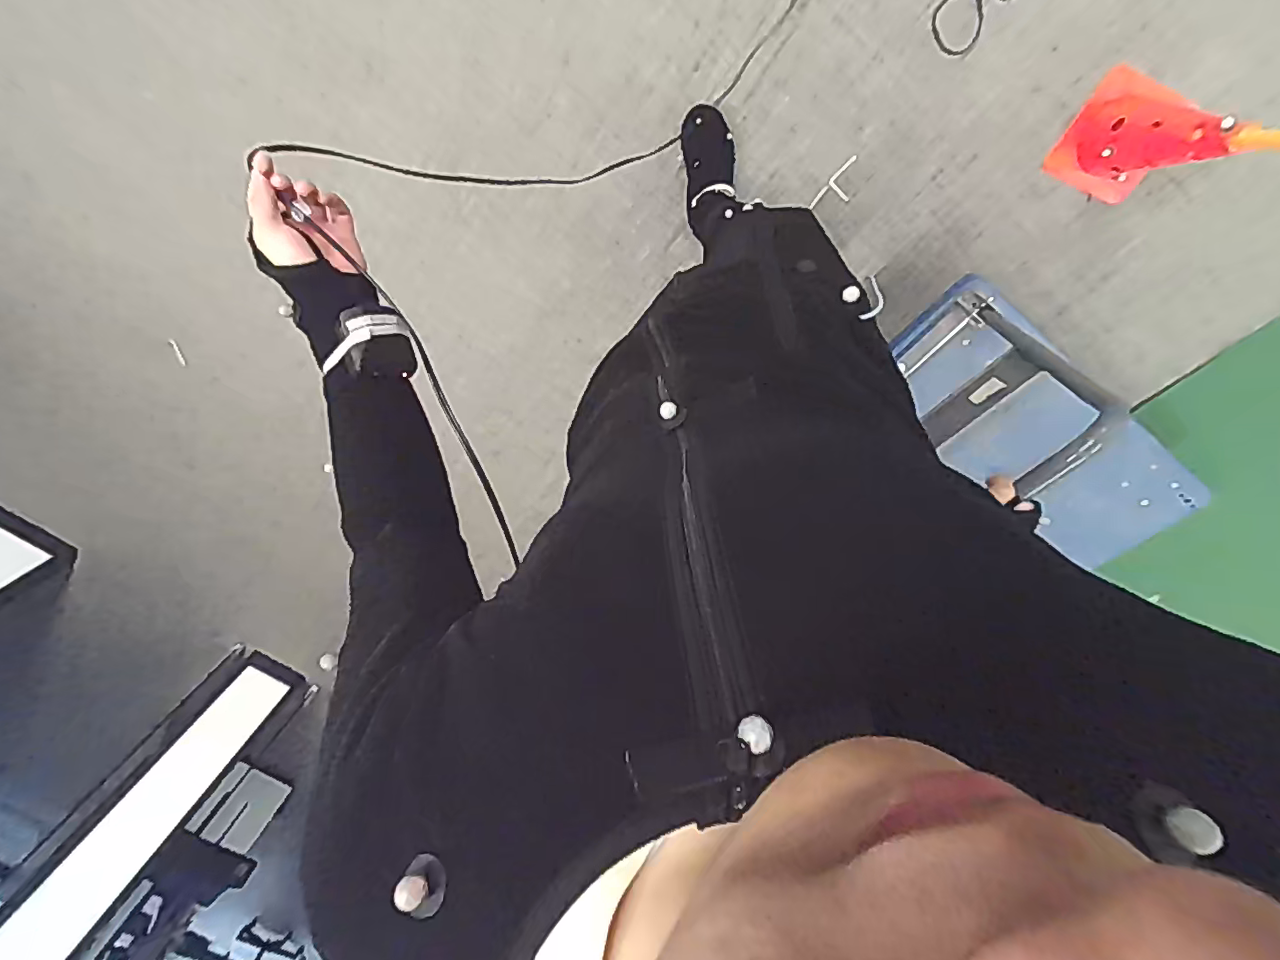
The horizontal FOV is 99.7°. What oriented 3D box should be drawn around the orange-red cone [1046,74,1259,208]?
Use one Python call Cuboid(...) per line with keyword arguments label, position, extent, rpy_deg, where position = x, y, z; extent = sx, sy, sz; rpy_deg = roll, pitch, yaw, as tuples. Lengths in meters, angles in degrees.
Cuboid(label="orange-red cone", position=(0.974, -0.620, 0.994), extent=(0.198, 0.360, 0.199), rpy_deg=(25, 122, -6))
